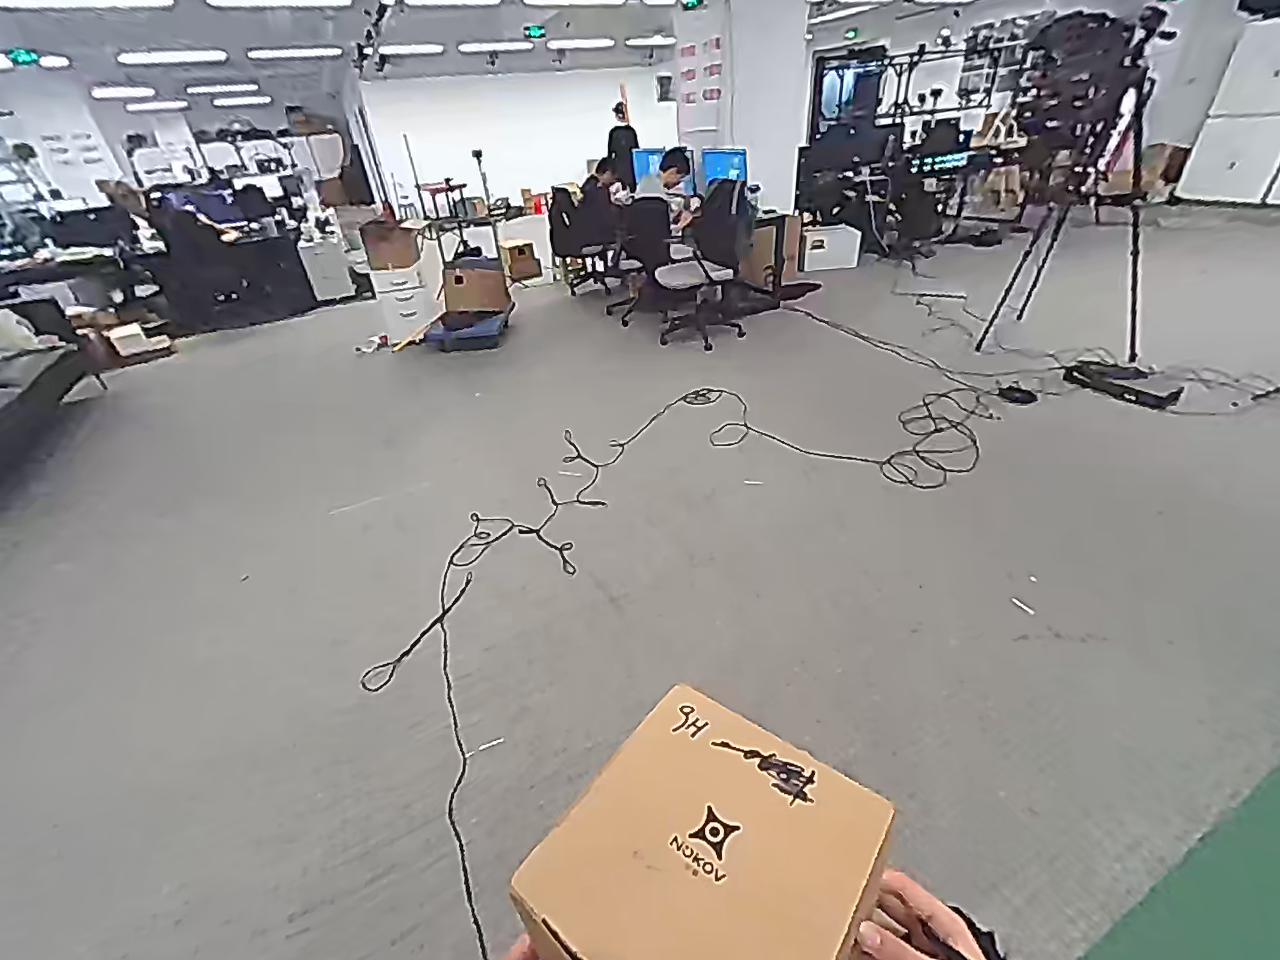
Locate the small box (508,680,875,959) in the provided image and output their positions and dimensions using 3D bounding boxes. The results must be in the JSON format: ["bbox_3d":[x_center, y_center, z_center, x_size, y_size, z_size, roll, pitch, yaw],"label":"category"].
[{"bbox_3d":[0.044,0.287,0.372,0.168,0.176,0.179,18,39,36],"label":"small box"}]
